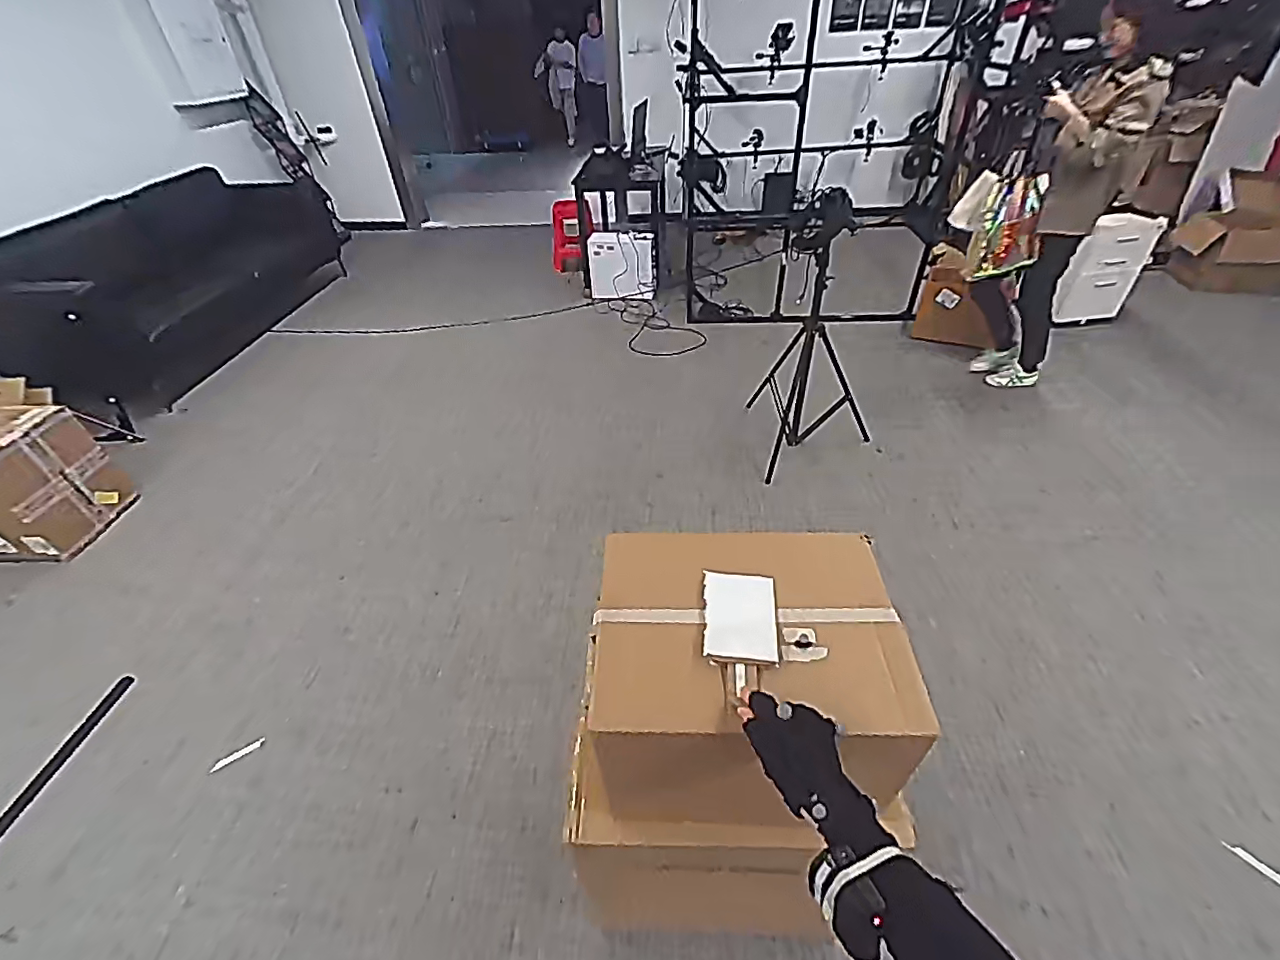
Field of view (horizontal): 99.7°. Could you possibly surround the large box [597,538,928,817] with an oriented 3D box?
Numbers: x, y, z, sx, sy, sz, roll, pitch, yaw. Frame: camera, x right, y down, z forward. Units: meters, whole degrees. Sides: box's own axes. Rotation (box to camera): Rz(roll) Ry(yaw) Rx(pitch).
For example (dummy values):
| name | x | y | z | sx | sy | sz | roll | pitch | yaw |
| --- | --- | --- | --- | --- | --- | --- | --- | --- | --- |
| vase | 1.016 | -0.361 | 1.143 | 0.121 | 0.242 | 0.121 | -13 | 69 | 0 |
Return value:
| name | x | y | z | sx | sy | sz | roll | pitch | yaw |
| --- | --- | --- | --- | --- | --- | --- | --- | --- | --- |
| large box | 0.150 | 0.308 | 0.852 | 0.408 | 0.320 | 0.320 | 0 | 41 | 2 |
